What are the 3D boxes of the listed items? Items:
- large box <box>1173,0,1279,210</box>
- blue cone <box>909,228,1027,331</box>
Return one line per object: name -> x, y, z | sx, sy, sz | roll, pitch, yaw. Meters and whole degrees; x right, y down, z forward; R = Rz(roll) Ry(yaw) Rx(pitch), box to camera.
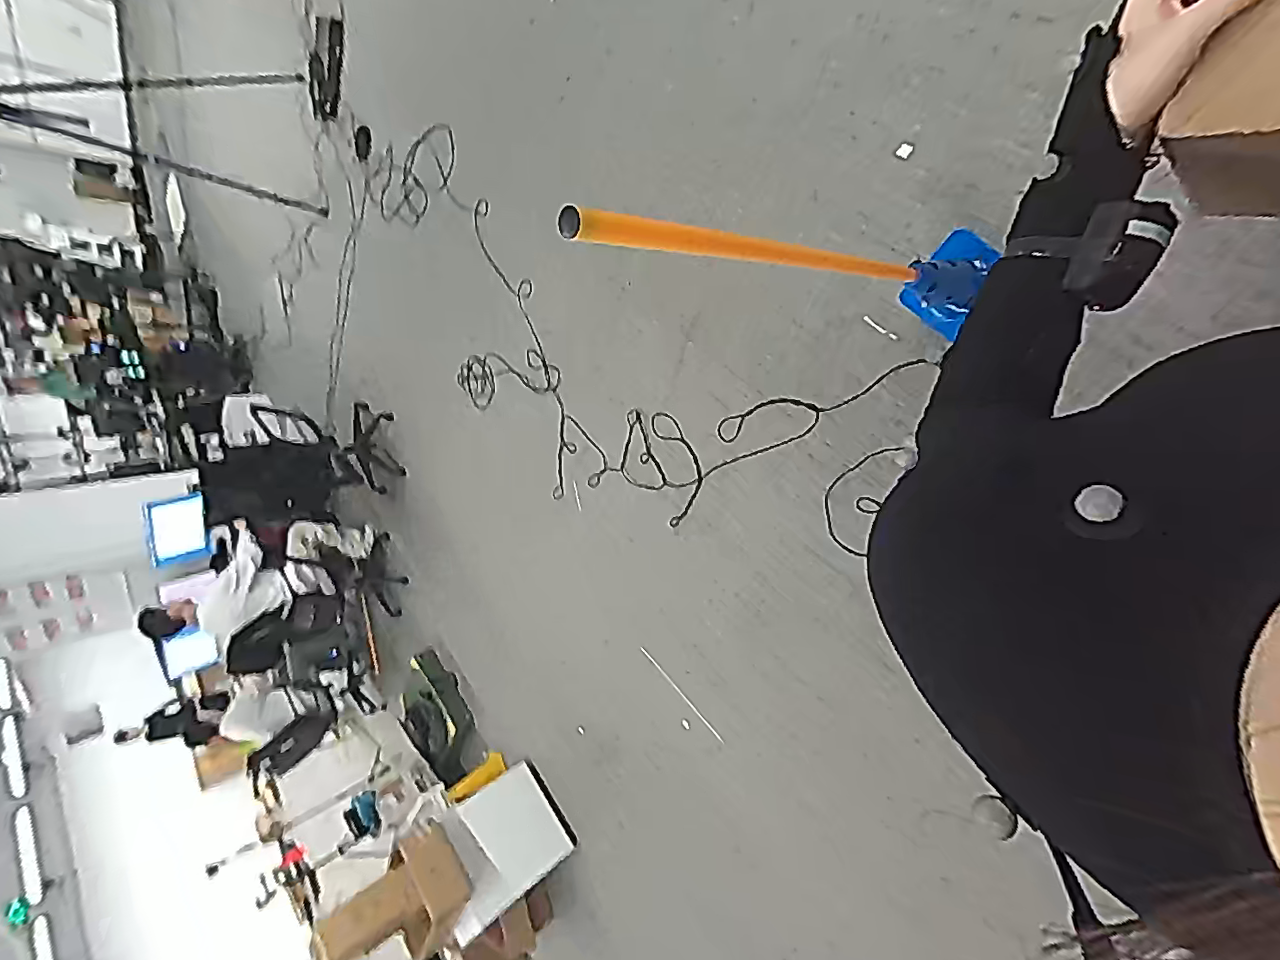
large box -> 0.598, -0.342, 0.272 | 0.408, 0.320, 0.320 | 23, 116, 43
blue cone -> 0.652, -0.439, 1.152 | 0.193, 0.380, 0.192 | 52, 129, 20
